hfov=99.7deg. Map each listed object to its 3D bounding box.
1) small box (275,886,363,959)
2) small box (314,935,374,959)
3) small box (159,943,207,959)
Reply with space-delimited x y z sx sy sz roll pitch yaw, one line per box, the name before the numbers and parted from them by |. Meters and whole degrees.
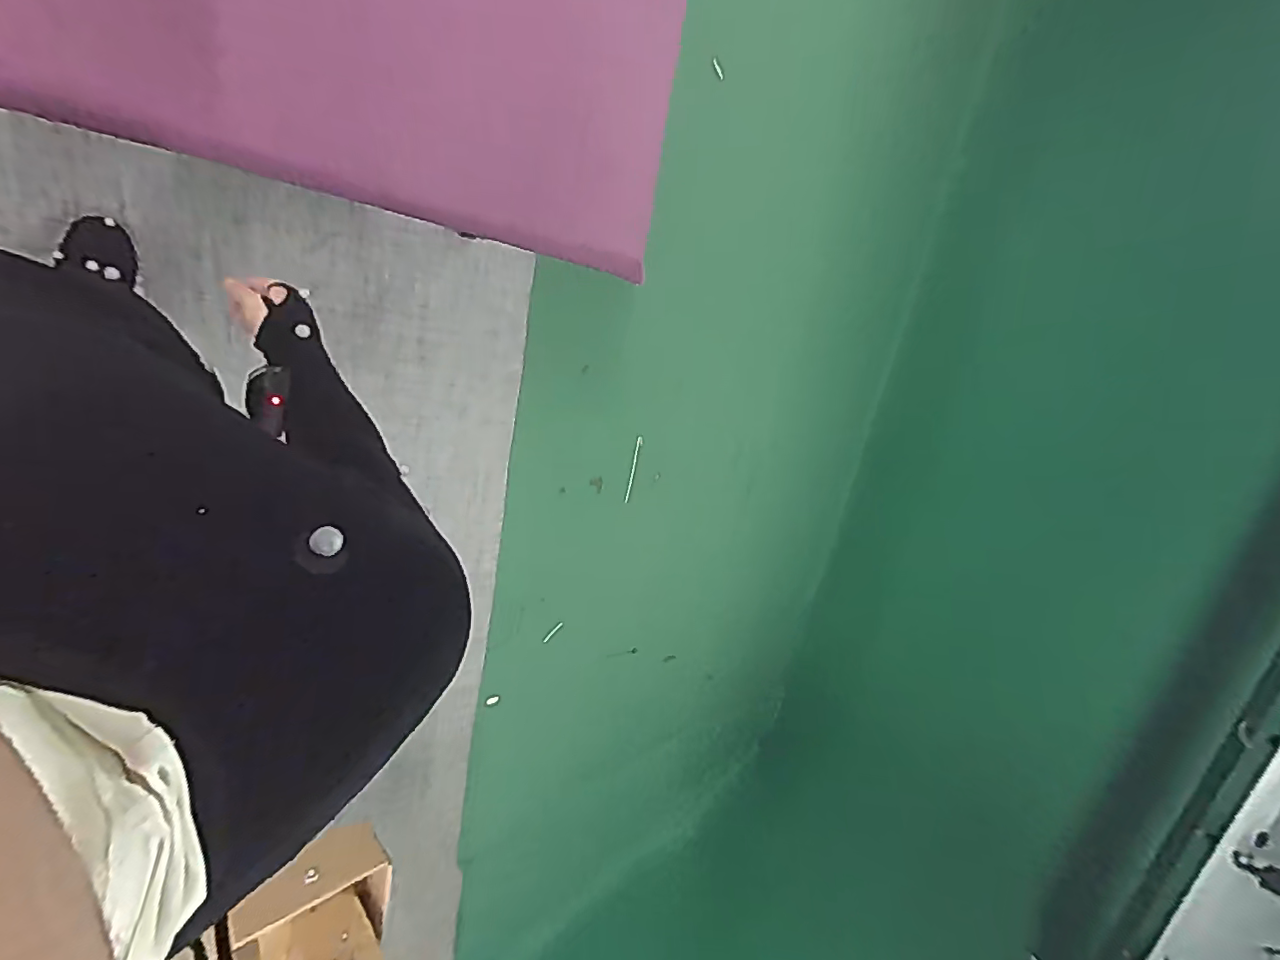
small box | -0.884 1.281 1.483 0.168 0.176 0.179 -2 111 -47
small box | -0.770 1.335 1.379 0.168 0.176 0.179 0 109 -49
small box | -1.081 1.215 1.227 0.168 0.176 0.179 -6 114 -46
